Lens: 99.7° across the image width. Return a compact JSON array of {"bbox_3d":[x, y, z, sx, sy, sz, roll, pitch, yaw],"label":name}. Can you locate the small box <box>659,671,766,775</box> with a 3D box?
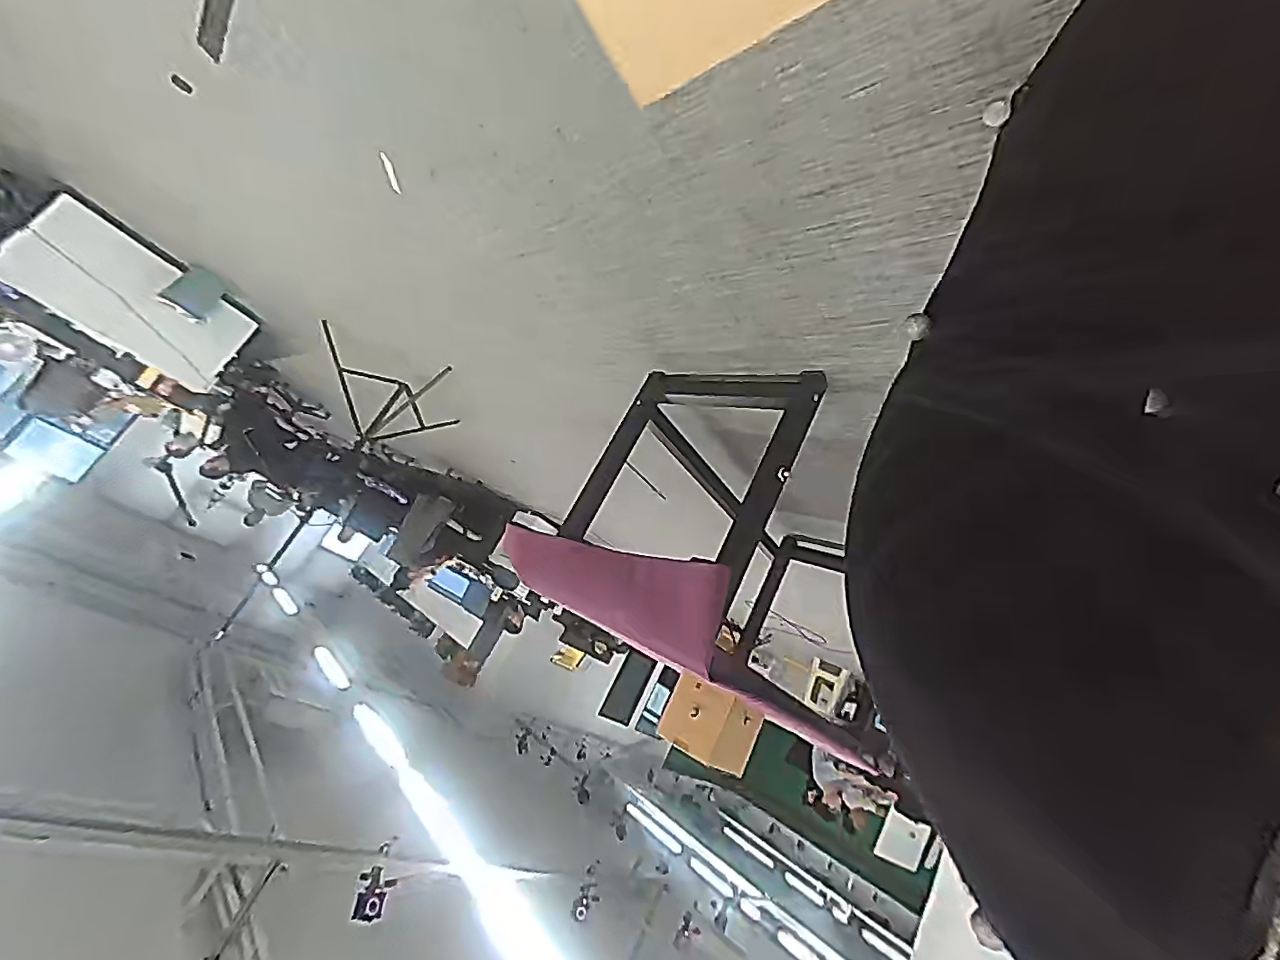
[{"bbox_3d":[0.181,0.591,1.330,0.168,0.176,0.179,11,157,44],"label":"small box"}]
